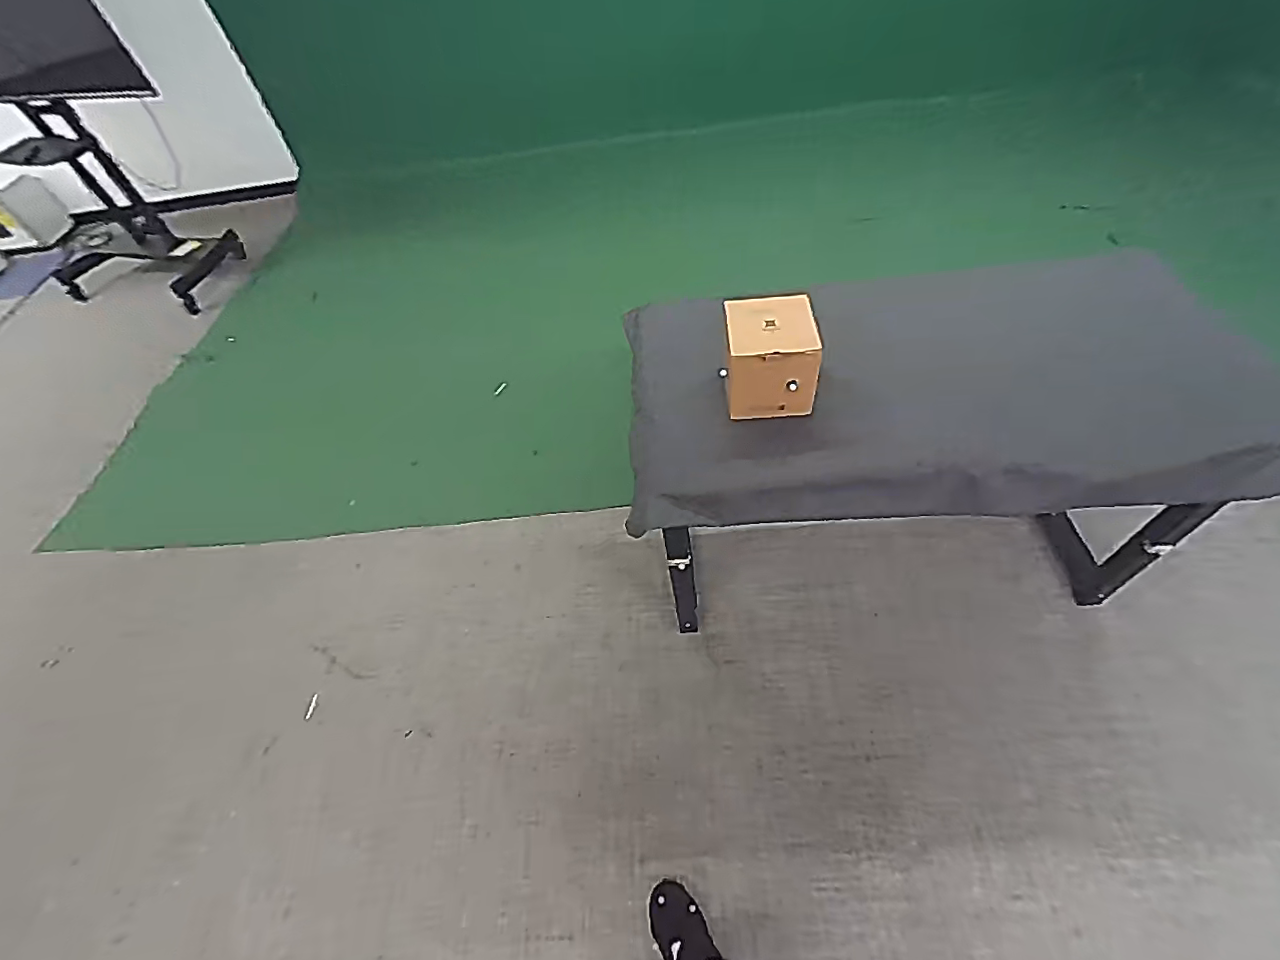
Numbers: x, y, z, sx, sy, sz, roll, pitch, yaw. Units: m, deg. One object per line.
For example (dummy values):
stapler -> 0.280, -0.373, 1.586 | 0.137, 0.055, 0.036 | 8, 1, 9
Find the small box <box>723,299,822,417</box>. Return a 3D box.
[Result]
small box -> 0.260, -0.241, 1.100 | 0.168, 0.176, 0.179 | -2, 51, 4
